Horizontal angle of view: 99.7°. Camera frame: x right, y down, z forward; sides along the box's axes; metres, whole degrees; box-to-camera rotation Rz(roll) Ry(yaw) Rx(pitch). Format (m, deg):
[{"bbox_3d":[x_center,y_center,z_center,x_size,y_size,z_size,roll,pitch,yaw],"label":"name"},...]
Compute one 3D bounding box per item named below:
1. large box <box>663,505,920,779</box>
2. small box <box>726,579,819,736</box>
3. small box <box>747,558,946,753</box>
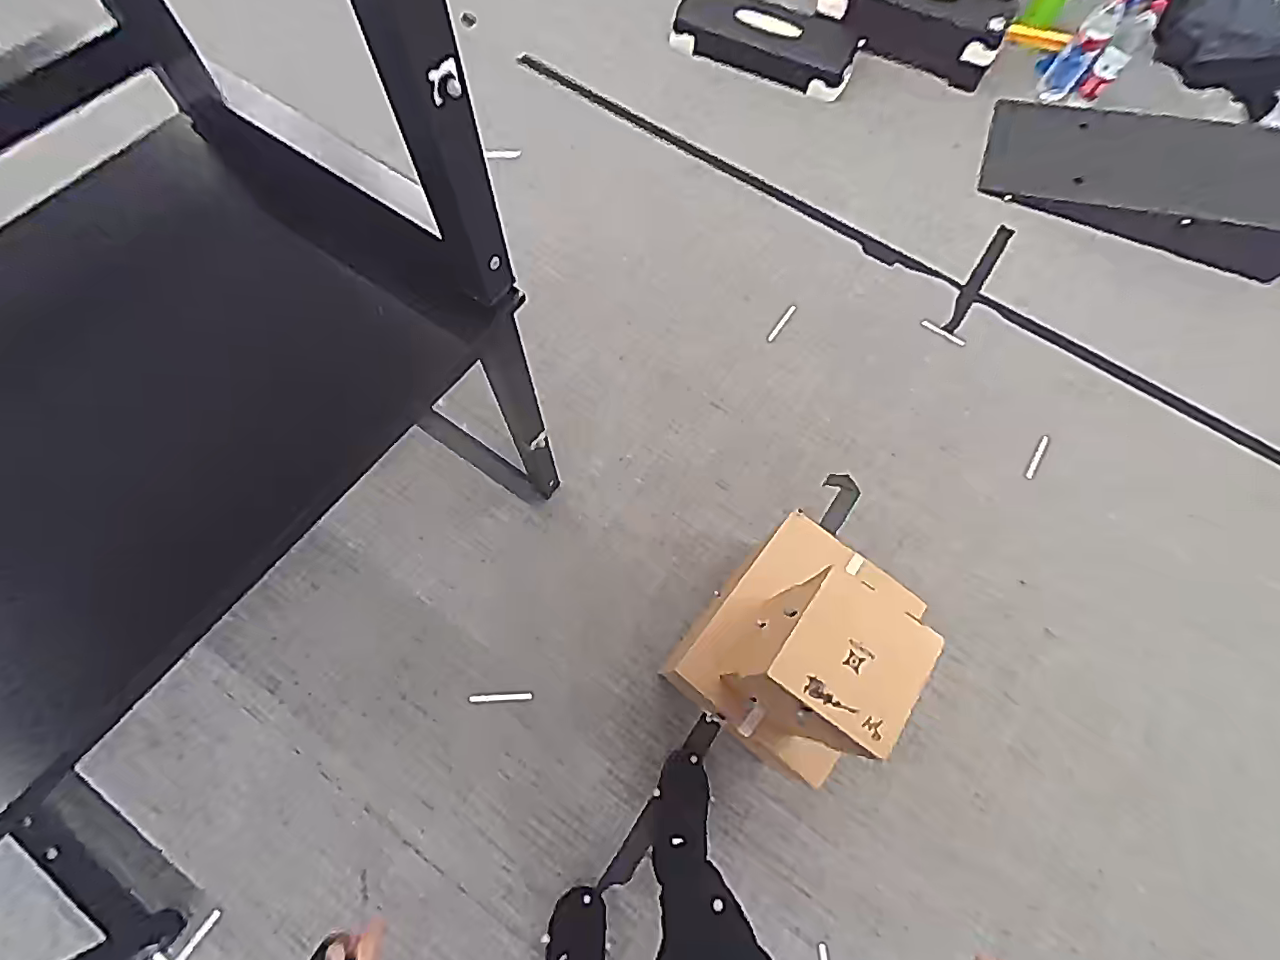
[{"bbox_3d":[0.294,0.336,1.145,0.320,0.320,0.408,38,71,9],"label":"large box"},{"bbox_3d":[0.262,0.294,0.897,0.168,0.176,0.179,37,72,11],"label":"small box"},{"bbox_3d":[0.268,0.240,0.742,0.168,0.176,0.179,36,70,12],"label":"small box"}]
